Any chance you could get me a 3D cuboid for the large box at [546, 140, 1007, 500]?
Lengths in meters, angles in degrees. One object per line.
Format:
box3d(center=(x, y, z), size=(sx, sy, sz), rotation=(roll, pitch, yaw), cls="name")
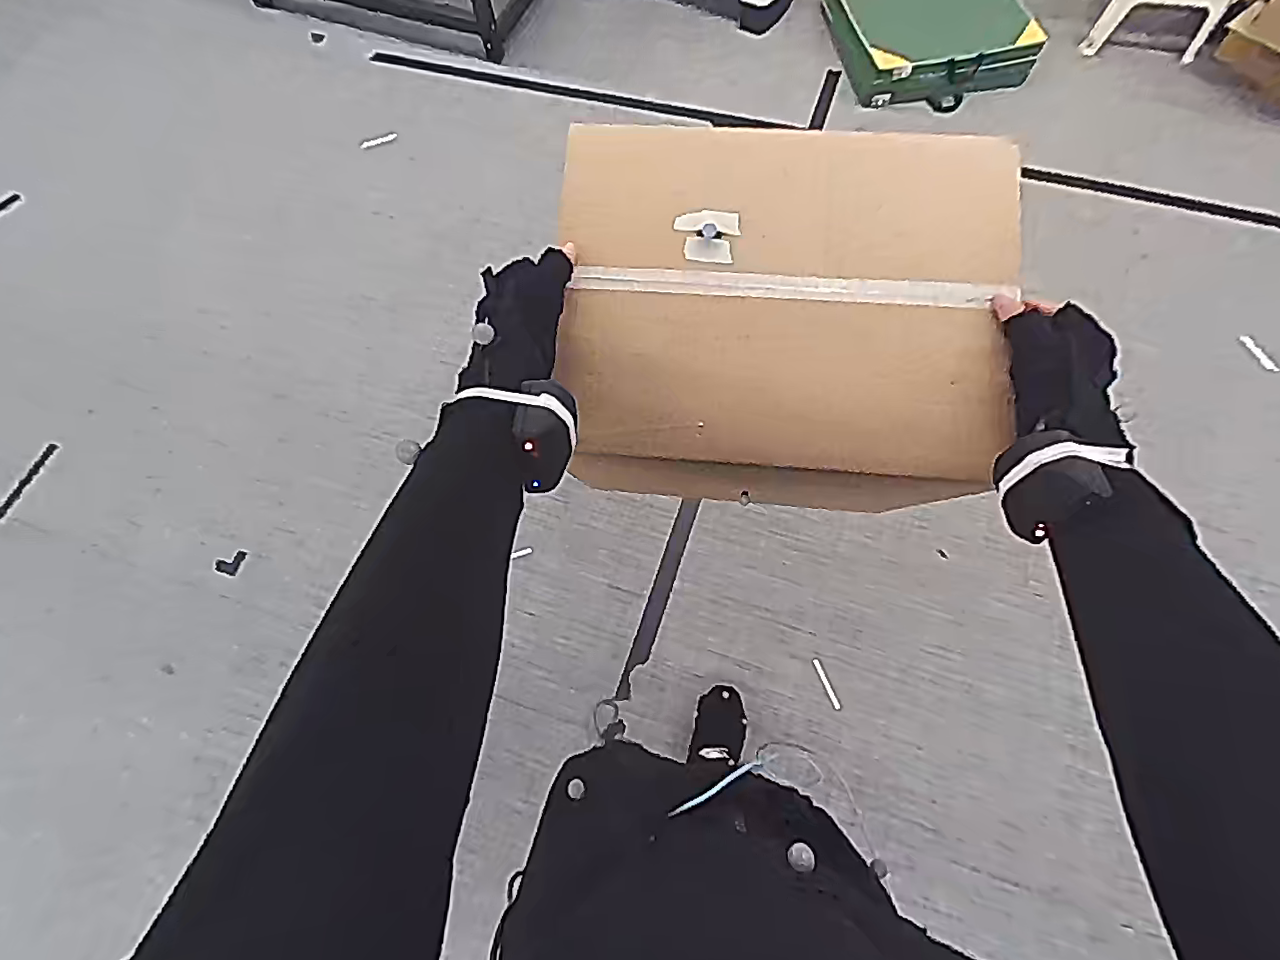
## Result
box3d(center=(0.137, -0.149, 0.637), size=(0.408, 0.320, 0.320), rotation=(5, 82, 6), cls="large box")
